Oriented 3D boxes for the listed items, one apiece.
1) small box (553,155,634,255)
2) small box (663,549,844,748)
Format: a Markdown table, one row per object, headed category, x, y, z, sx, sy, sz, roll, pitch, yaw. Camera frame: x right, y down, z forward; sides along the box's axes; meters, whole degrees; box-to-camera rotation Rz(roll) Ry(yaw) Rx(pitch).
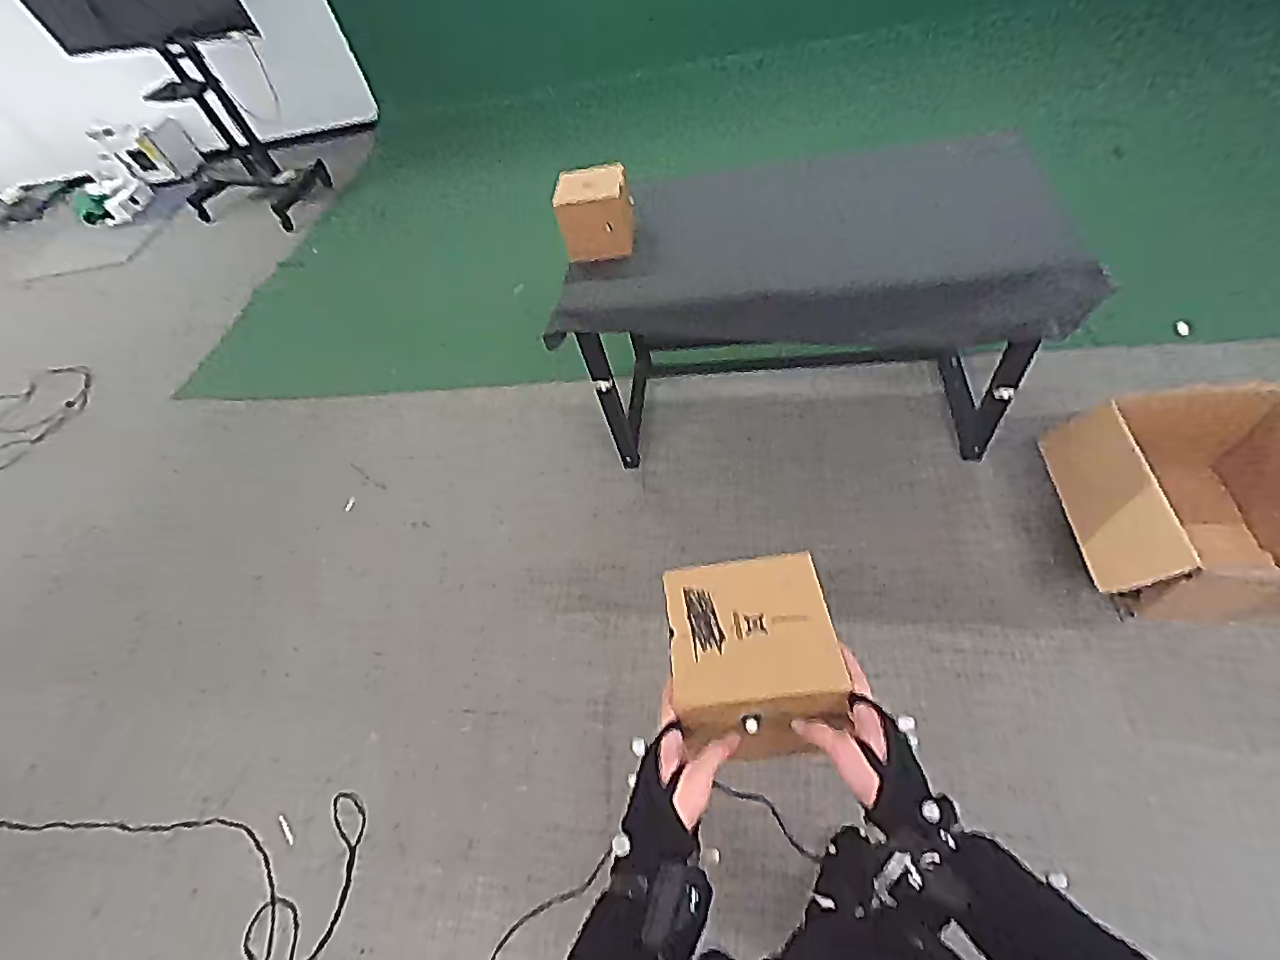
| category | x | y | z | sx | sy | sz | roll | pitch | yaw |
| --- | --- | --- | --- | --- | --- | --- | --- | --- | --- |
| small box | -0.115 | -0.733 | 1.451 | 0.179 | 0.176 | 0.168 | -4 | 54 | 11 |
| small box | 0.126 | 0.202 | 0.632 | 0.179 | 0.176 | 0.168 | -6 | 46 | 8 |
